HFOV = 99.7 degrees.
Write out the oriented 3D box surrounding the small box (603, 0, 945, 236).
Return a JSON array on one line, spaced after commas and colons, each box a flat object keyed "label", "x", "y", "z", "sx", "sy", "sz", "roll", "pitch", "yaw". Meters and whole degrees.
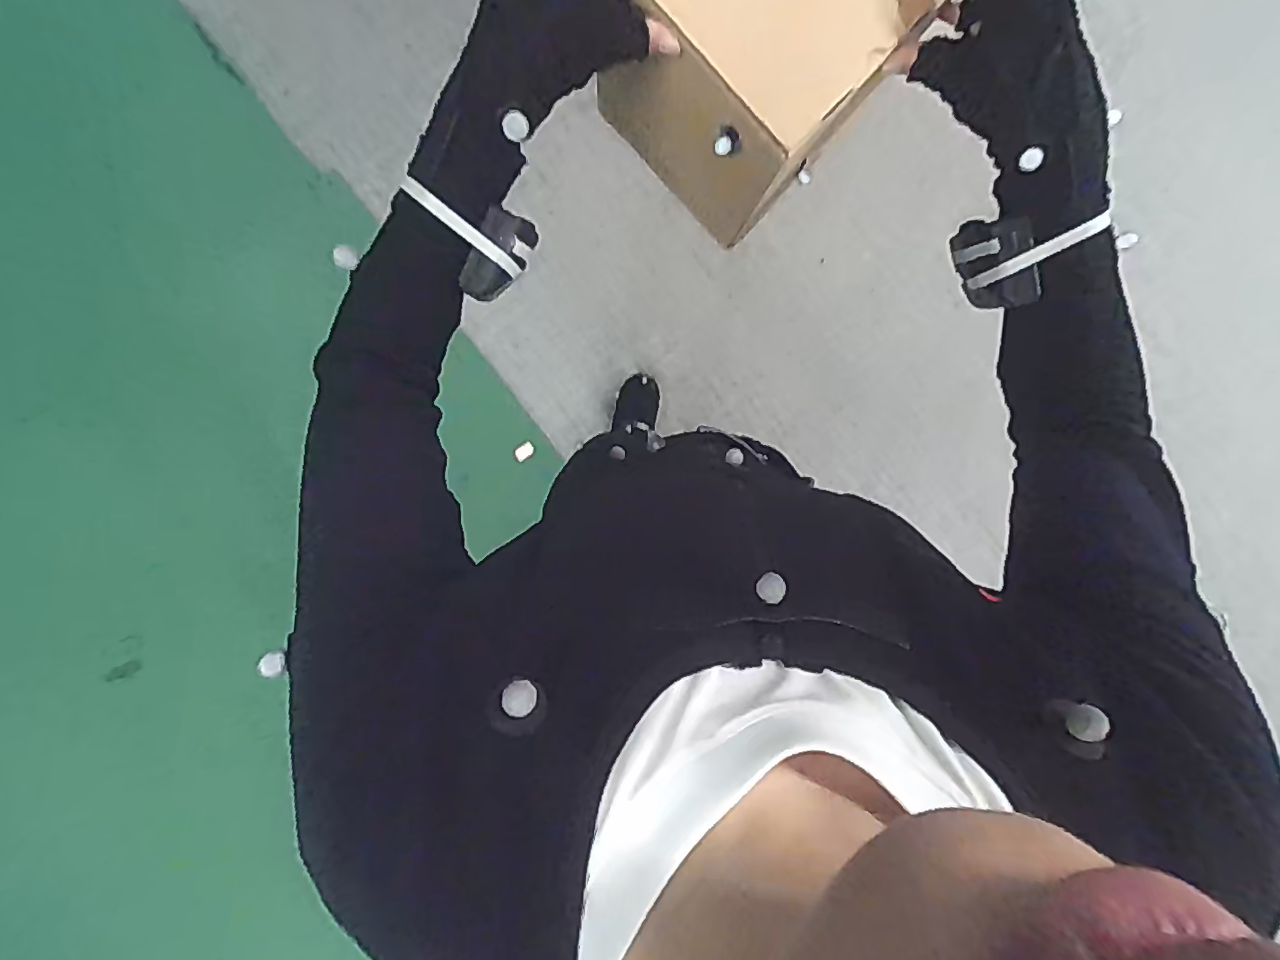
[{"label": "small box", "x": 0.083, "y": -0.333, "z": 0.423, "sx": 0.168, "sy": 0.176, "sz": 0.179, "roll": -45, "pitch": 96, "yaw": -1}]
